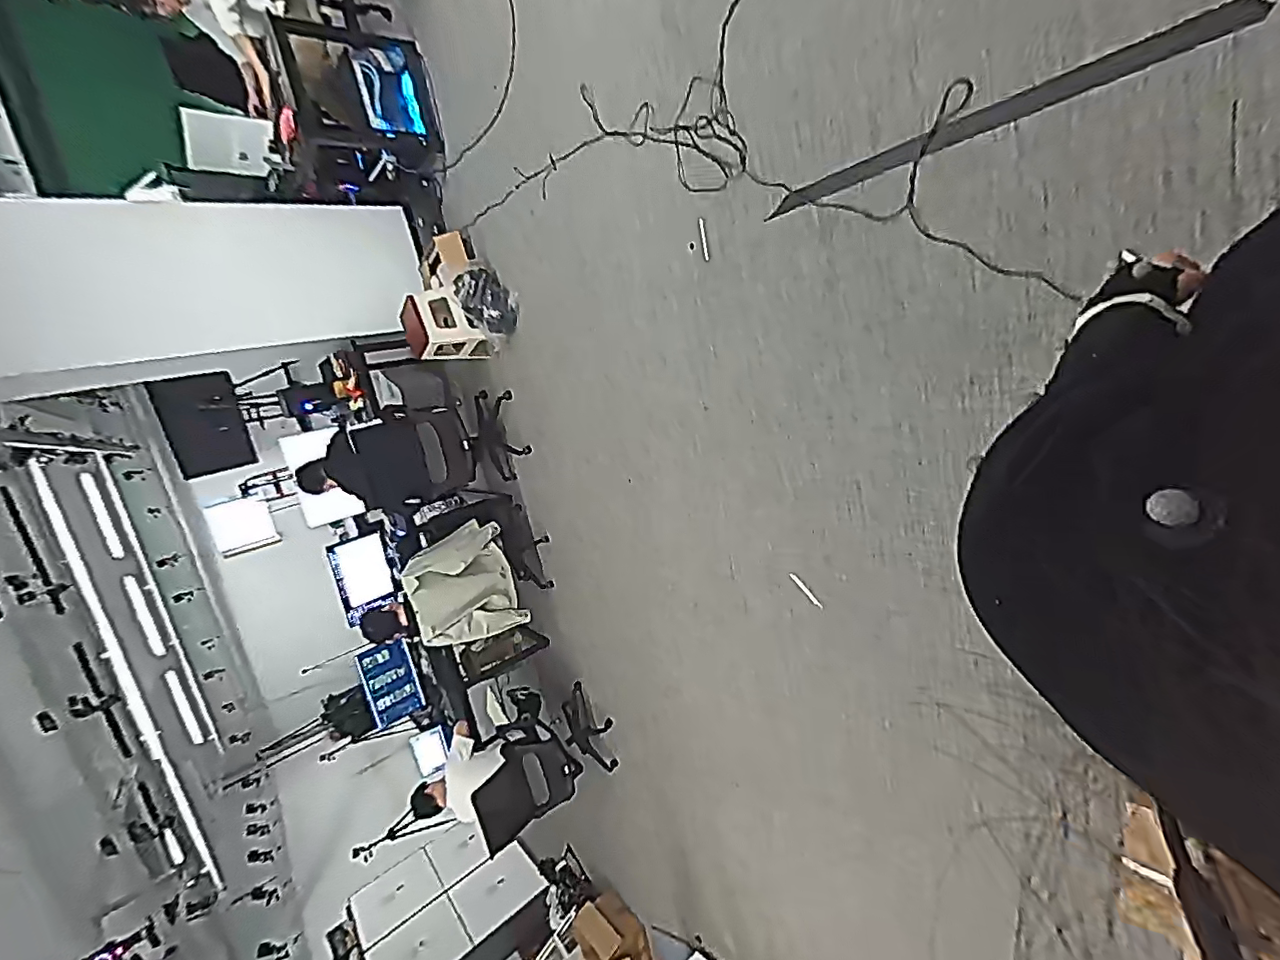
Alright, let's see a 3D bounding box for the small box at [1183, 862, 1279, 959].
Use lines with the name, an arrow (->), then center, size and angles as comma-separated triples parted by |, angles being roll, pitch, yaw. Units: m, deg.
small box -> 1.085, 0.823, 0.942 | 0.179, 0.176, 0.168 | 2, 107, 53
